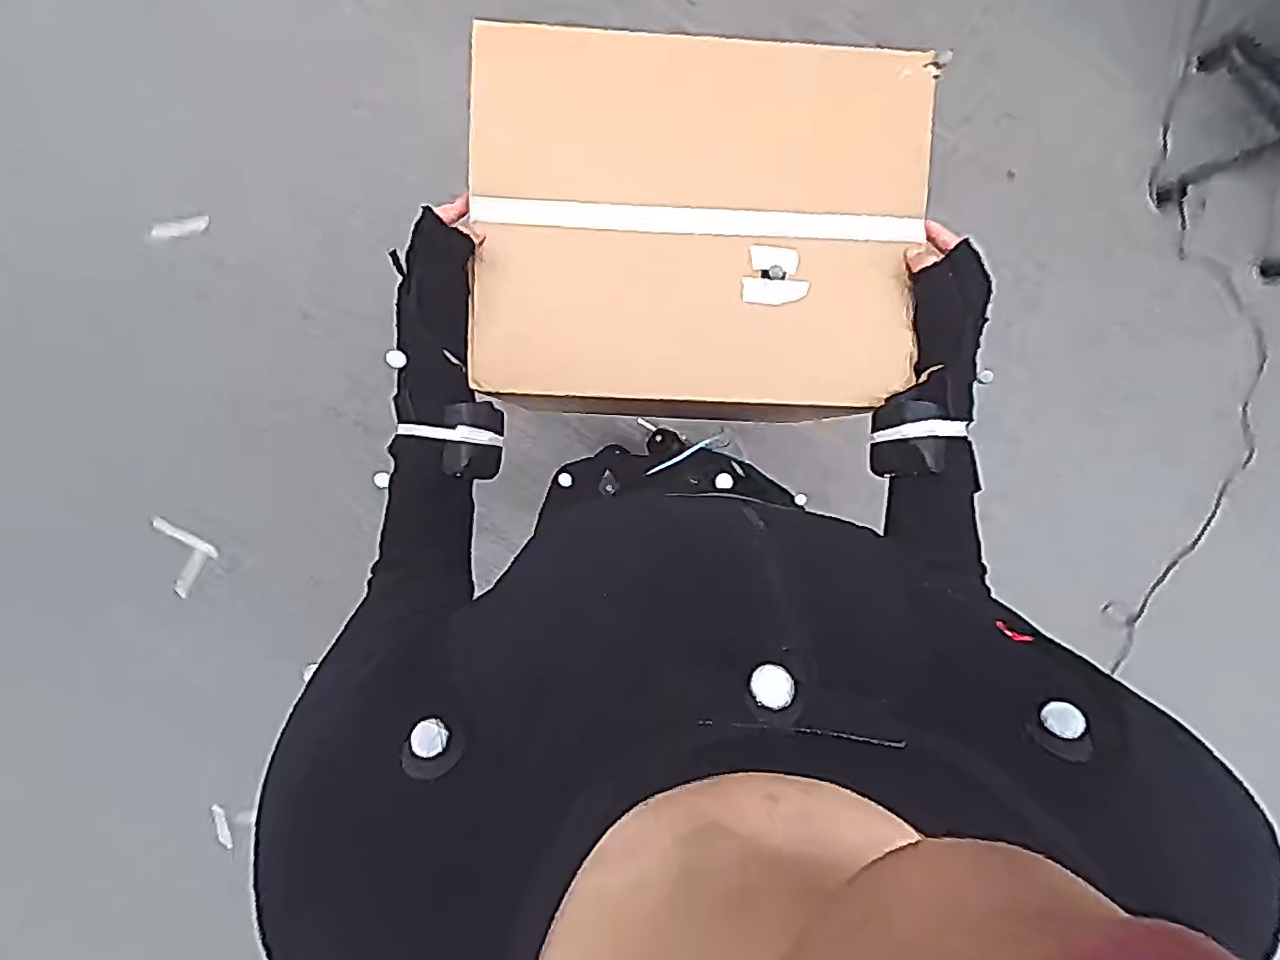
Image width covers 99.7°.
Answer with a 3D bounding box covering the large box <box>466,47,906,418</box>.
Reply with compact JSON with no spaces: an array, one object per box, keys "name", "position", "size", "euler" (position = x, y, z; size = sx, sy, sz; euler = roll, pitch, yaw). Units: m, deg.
[{"name":"large box","position":[0.035,-0.236,0.640],"size":[0.408,0.320,0.320],"euler":[1,95,-3]}]
